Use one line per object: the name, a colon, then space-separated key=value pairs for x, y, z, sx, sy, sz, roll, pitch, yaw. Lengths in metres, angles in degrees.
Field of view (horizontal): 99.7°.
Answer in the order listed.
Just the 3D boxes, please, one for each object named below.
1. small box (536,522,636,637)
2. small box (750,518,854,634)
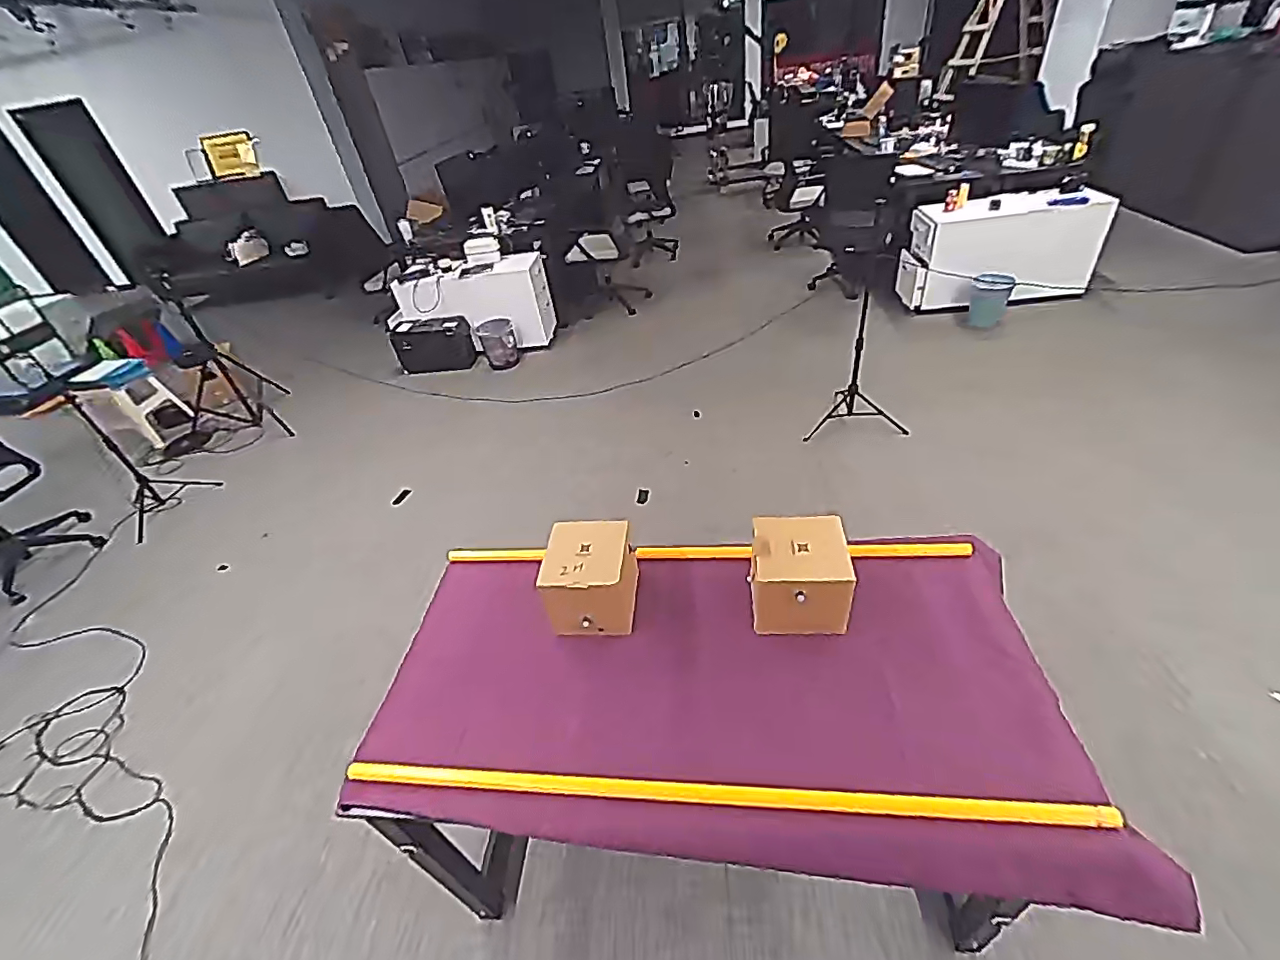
small box: x=-0.104 y=0.209 z=1.149 sx=0.168 sy=0.176 sz=0.179 roll=-3 pitch=41 yaw=9
small box: x=0.314 y=0.193 z=1.084 sx=0.179 sy=0.176 sz=0.168 roll=-3 pitch=40 yaw=10
